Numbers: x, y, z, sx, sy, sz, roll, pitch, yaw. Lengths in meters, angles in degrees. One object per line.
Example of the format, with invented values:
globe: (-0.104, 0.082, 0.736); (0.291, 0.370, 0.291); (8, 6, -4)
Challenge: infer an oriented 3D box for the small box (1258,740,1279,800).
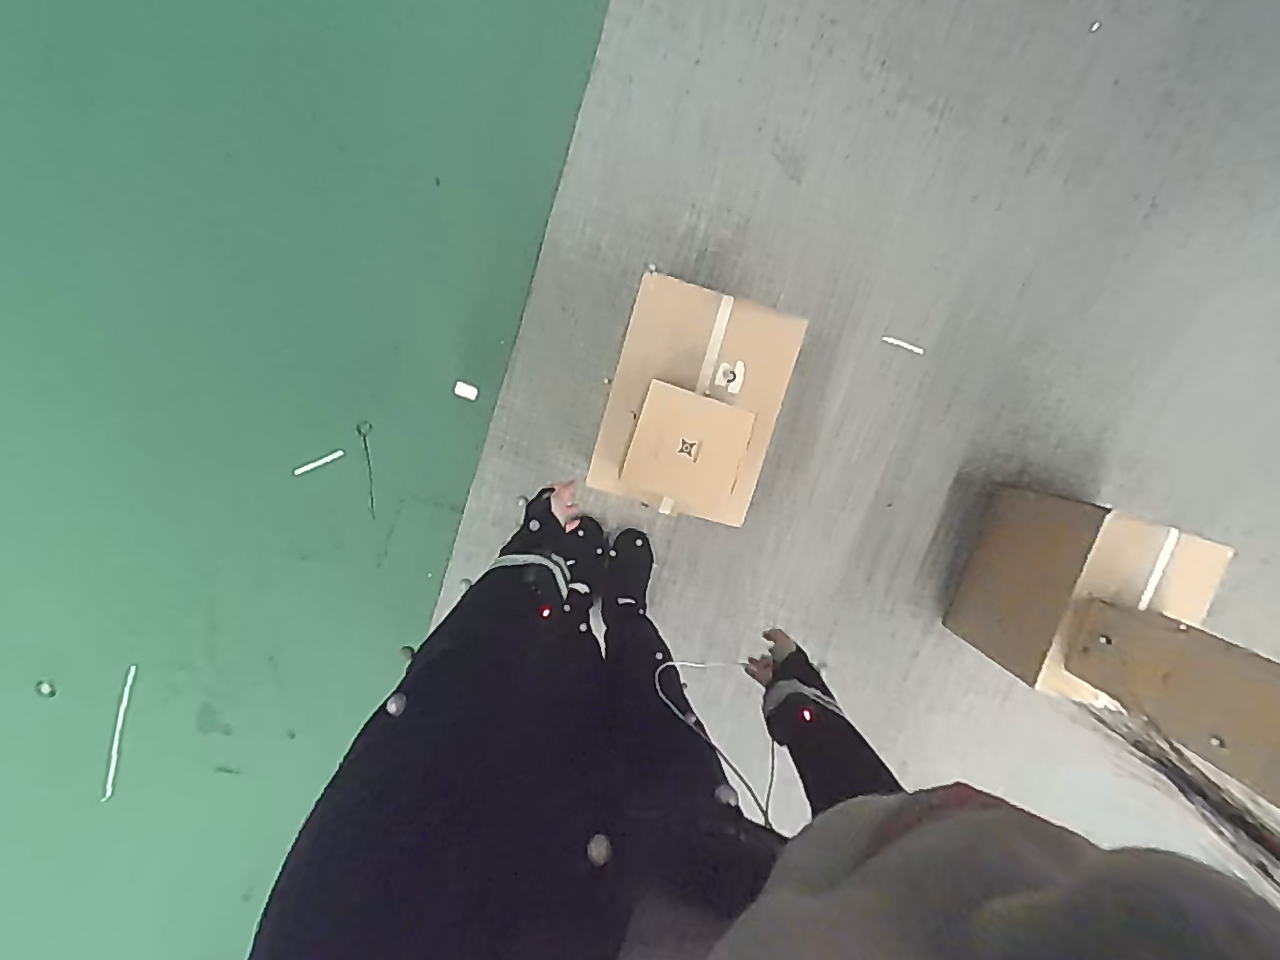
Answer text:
small box: (1.022, 0.417, 0.728); (0.168, 0.176, 0.179); (17, 100, -6)

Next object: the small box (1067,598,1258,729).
small box: (0.998, 0.346, 1.049); (0.179, 0.176, 0.168); (14, 99, -5)

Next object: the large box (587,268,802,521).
large box: (0.088, -0.167, 1.133); (0.320, 0.320, 0.408); (15, 98, -7)

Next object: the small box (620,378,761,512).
small box: (0.074, -0.064, 0.900); (0.179, 0.176, 0.168); (18, 97, -5)
